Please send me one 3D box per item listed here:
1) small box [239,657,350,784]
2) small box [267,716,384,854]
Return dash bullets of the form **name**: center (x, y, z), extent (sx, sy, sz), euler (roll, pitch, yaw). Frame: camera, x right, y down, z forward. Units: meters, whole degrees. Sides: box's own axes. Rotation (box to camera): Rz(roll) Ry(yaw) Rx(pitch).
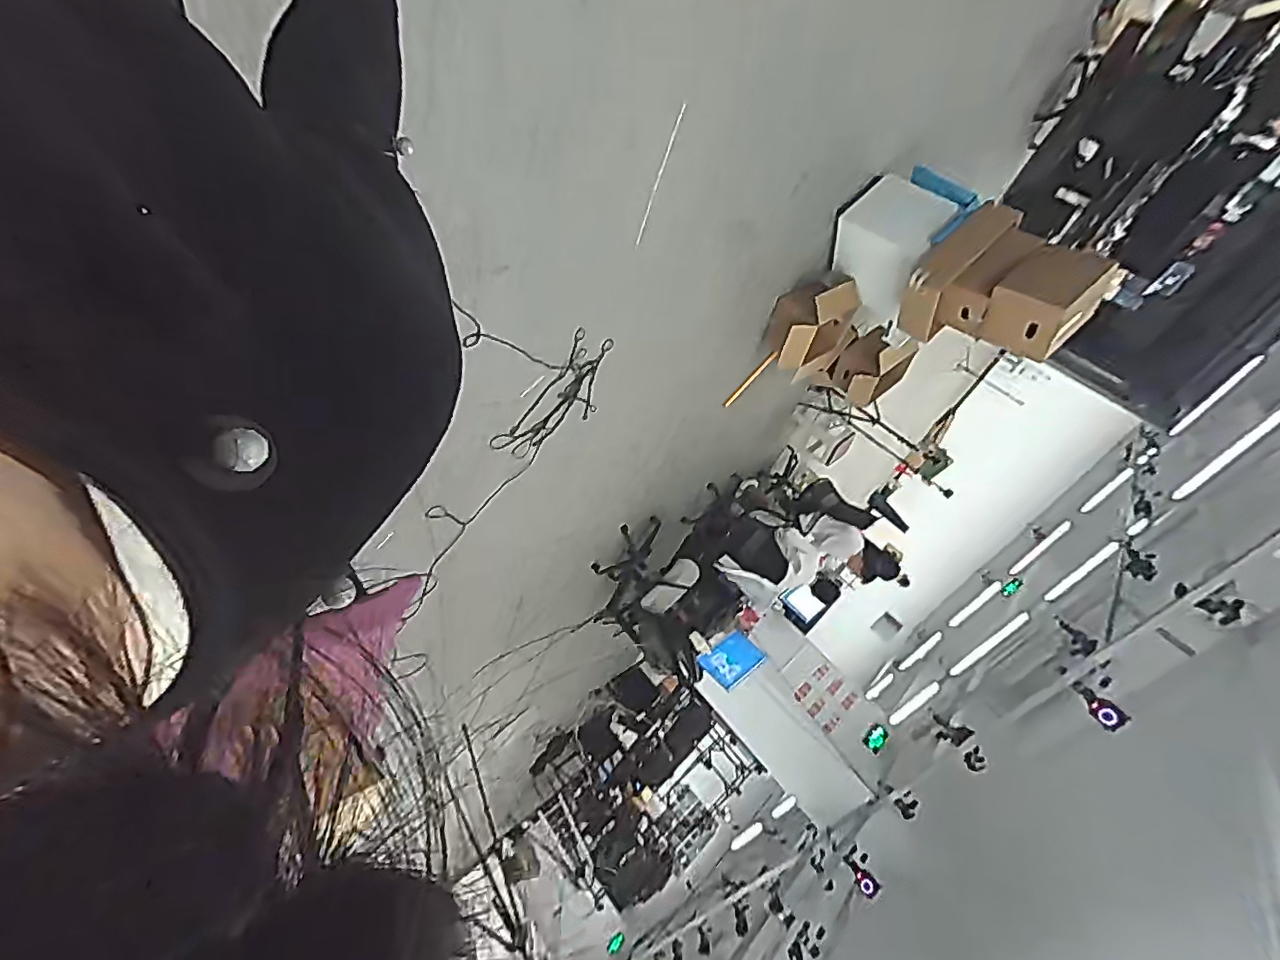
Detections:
- **small box**: center (-0.782, 0.539, 1.226), extent (0.168, 0.176, 0.179), euler (-19, 144, -45)
- **small box**: center (-0.673, 0.636, 1.152), extent (0.168, 0.176, 0.179), euler (-17, 143, -46)
